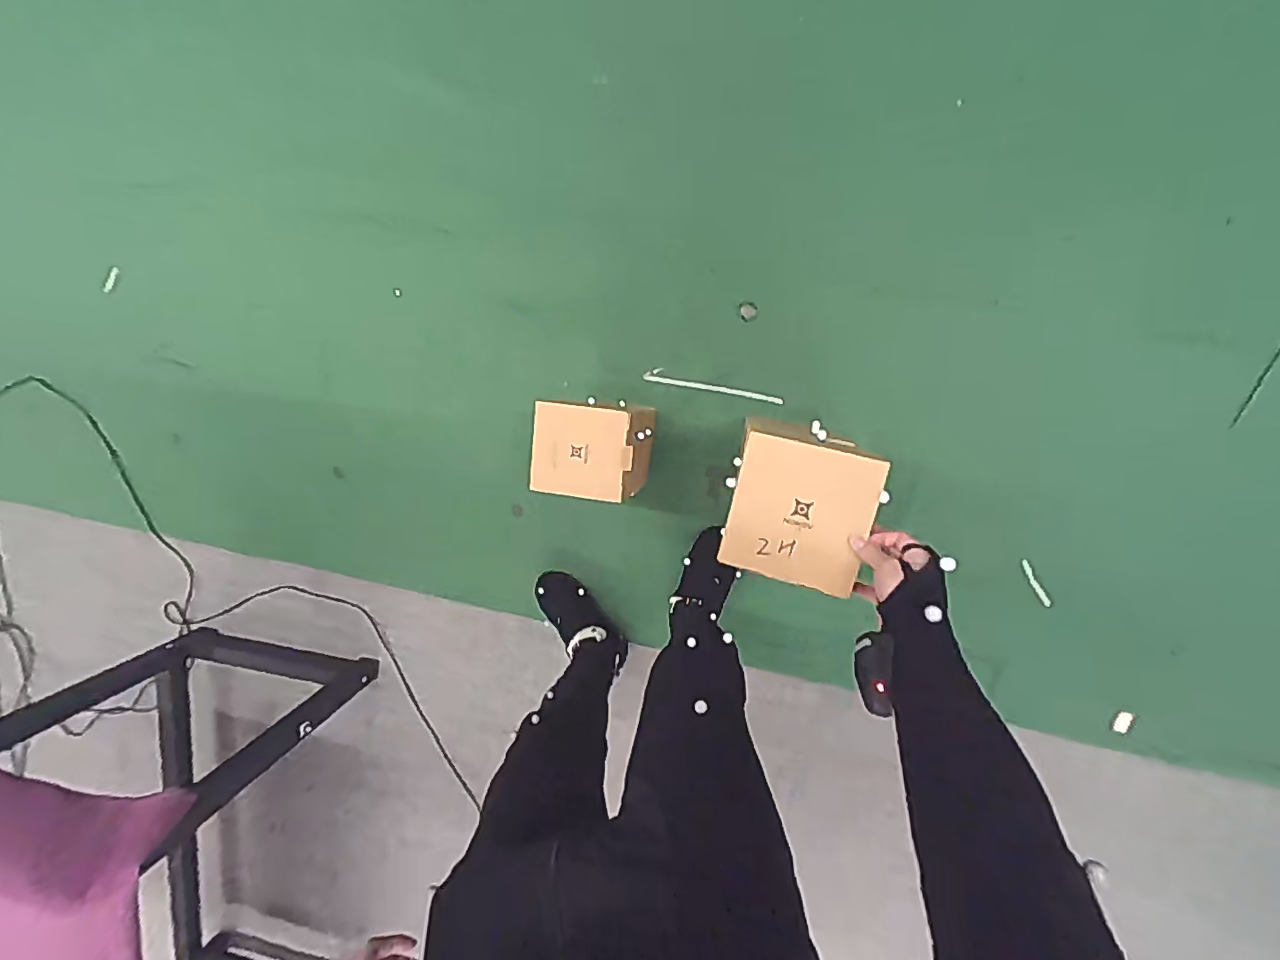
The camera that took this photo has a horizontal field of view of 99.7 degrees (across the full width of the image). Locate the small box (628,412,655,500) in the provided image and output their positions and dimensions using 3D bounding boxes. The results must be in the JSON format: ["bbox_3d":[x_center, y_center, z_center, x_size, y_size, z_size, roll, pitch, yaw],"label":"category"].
[{"bbox_3d":[-0.065,-0.067,1.198,0.168,0.176,0.179,8,100,9],"label":"small box"}]

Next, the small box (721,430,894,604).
[{"bbox_3d":[0.217,0.035,0.725,0.168,0.176,0.179,15,102,14],"label":"small box"}]

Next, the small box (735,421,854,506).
[{"bbox_3d":[0.270,0.000,0.980,0.168,0.176,0.179,12,103,7],"label":"small box"}]

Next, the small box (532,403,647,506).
[{"bbox_3d":[-0.089,-0.057,1.035,0.179,0.176,0.168,8,100,11],"label":"small box"}]
